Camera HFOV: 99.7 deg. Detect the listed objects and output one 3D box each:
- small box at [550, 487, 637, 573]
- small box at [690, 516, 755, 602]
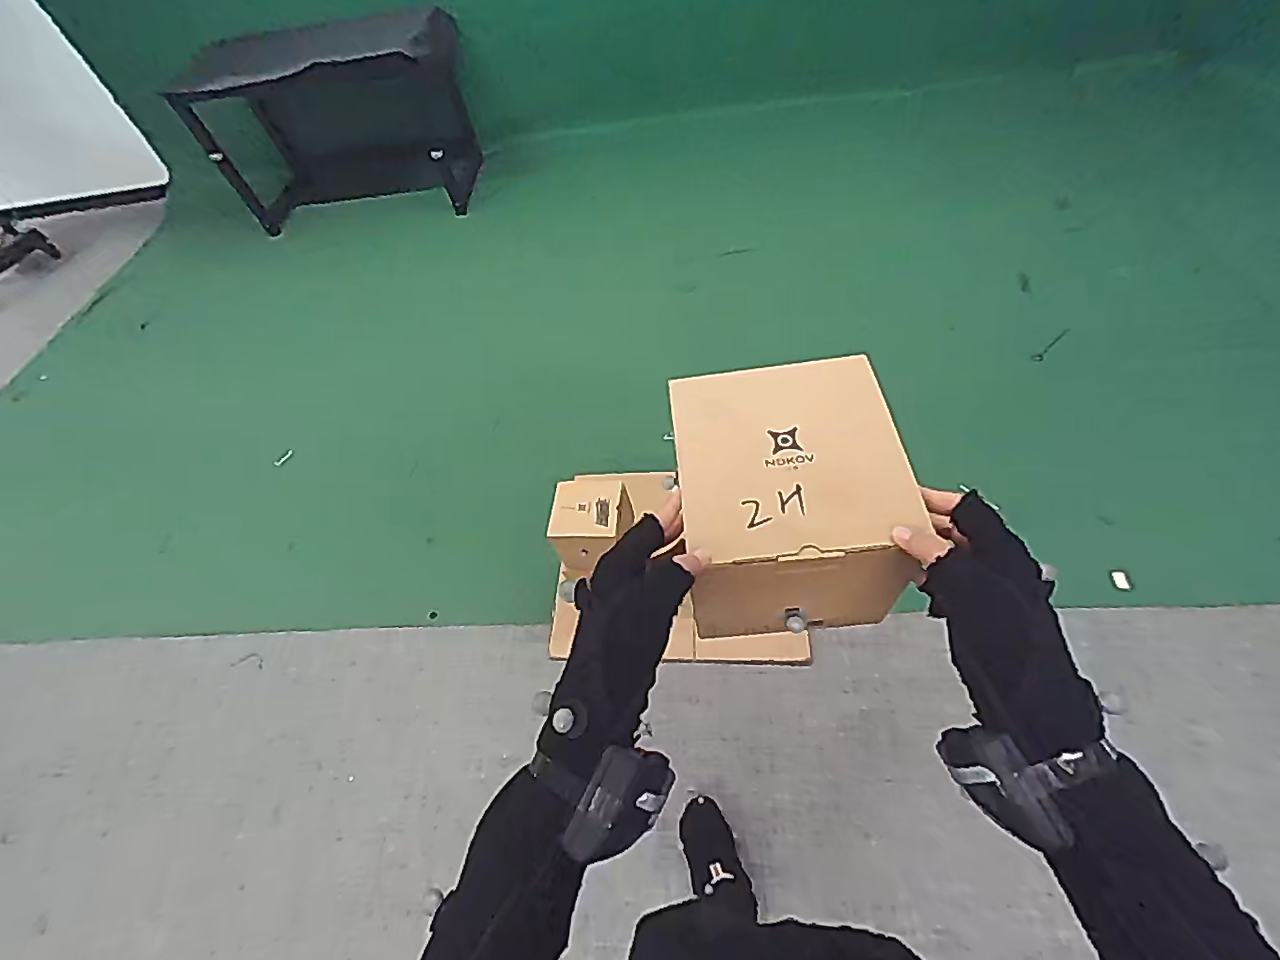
[{"bbox_3d":[-0.111,0.131,1.395,0.179,0.176,0.168,-1,54,12],"label":"small box"},{"bbox_3d":[0.222,0.218,1.480,0.168,0.176,0.179,-4,55,8],"label":"small box"}]
